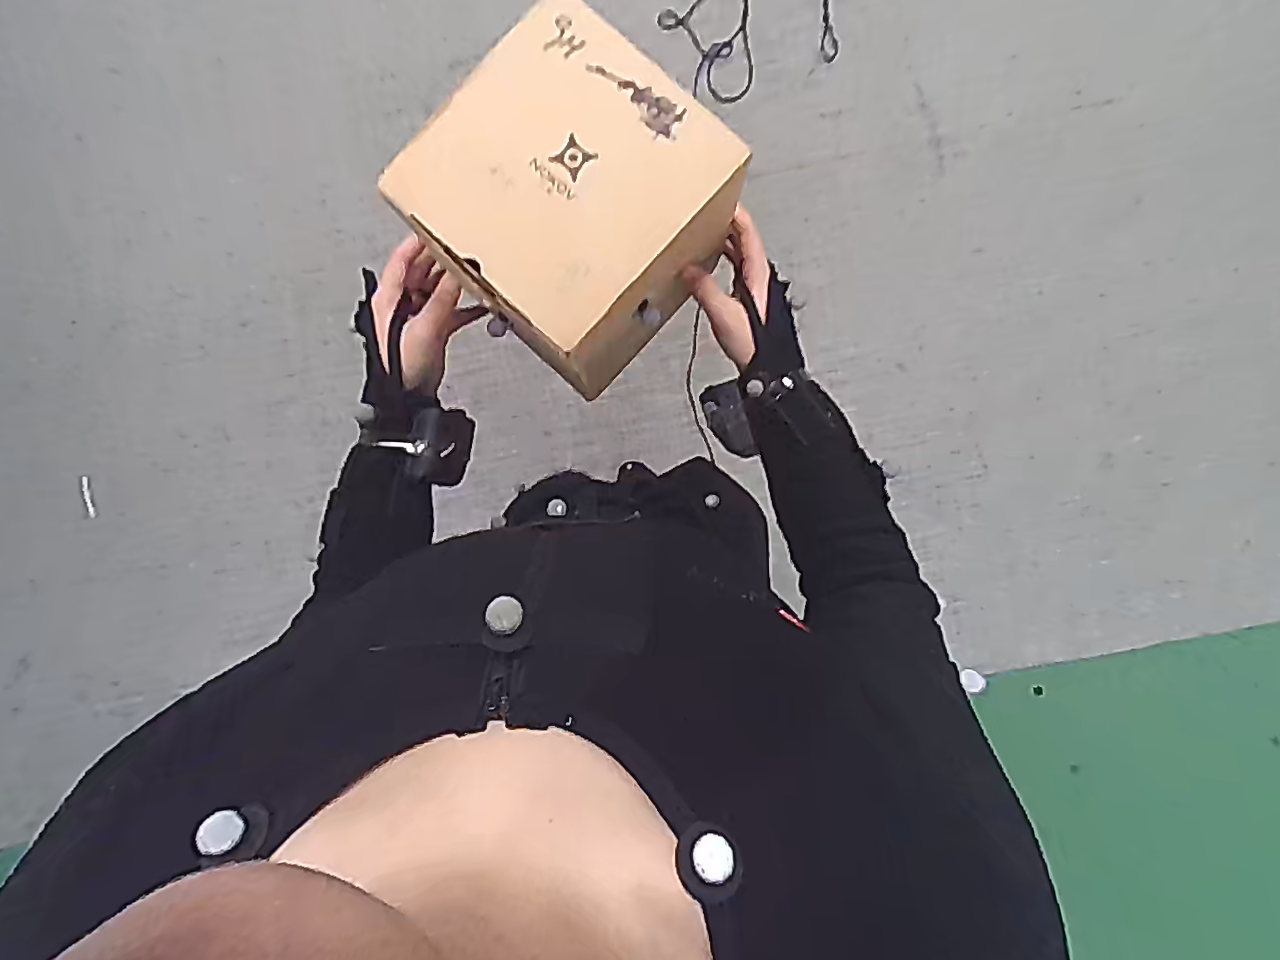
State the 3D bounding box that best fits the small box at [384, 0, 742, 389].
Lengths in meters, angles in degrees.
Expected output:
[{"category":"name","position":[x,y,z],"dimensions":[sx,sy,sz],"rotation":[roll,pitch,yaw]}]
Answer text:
[{"category":"small box","position":[-0.047,-0.194,0.422],"dimensions":[0.168,0.176,0.179],"rotation":[42,90,2]}]
